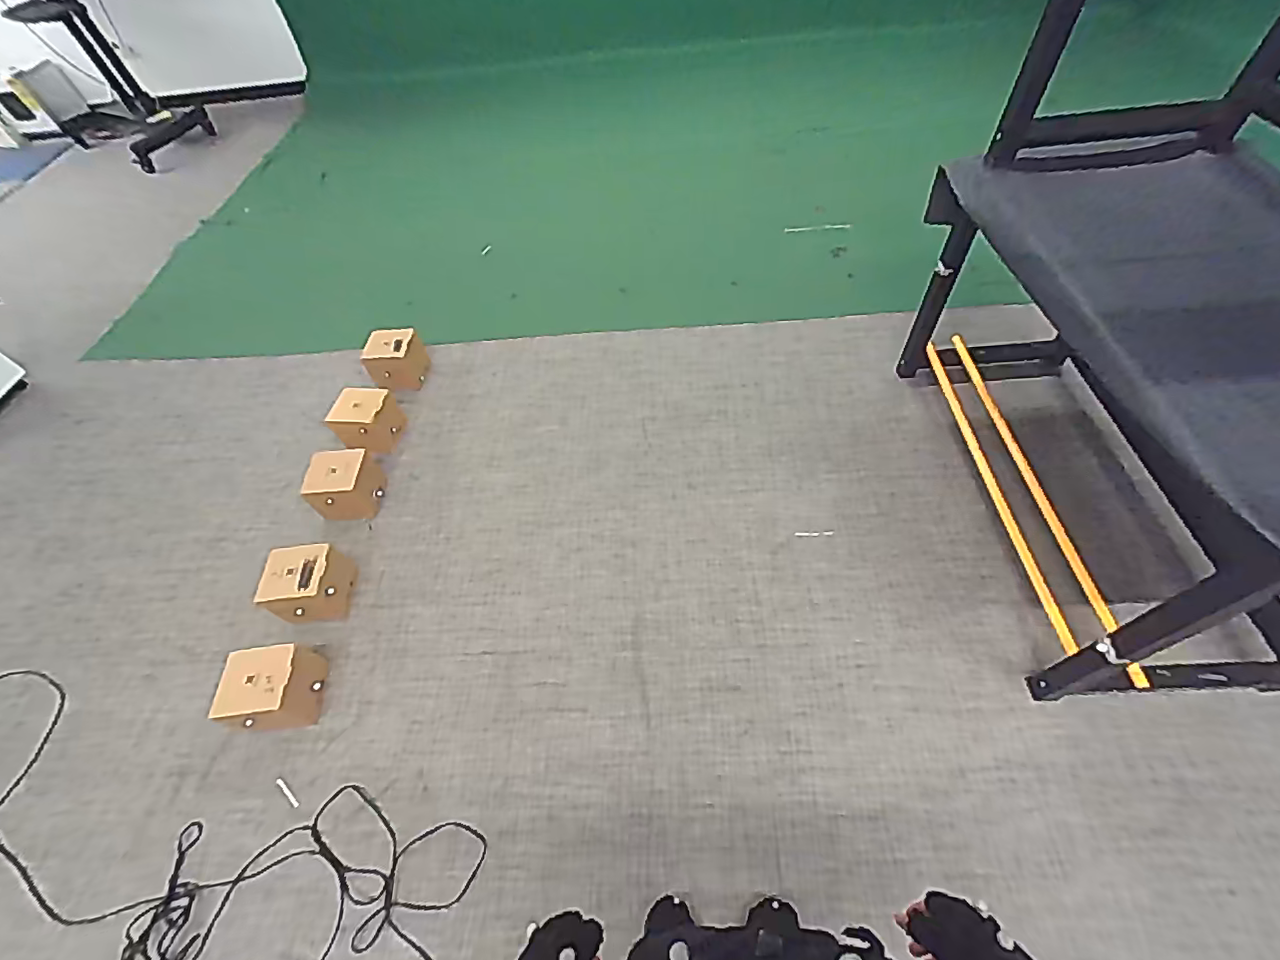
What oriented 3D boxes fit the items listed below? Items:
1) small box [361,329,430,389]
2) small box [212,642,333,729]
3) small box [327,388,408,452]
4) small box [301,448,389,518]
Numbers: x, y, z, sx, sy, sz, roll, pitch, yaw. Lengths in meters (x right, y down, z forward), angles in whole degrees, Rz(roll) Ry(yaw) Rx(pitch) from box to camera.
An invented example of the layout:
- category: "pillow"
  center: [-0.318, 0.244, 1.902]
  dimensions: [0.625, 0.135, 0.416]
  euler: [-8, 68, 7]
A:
- category: "small box"
  center: [-0.958, -0.475, 2.141]
  dimensions: [0.179, 0.176, 0.168]
  euler: [-2, 54, 5]
- category: "small box"
  center: [-0.947, 0.540, 1.410]
  dimensions: [0.179, 0.176, 0.168]
  euler: [-7, 55, 0]
- category: "small box"
  center: [-0.978, -0.216, 1.956]
  dimensions: [0.179, 0.176, 0.168]
  euler: [3, 55, 7]
- category: "small box"
  center: [-0.967, 0.015, 1.789]
  dimensions: [0.179, 0.176, 0.168]
  euler: [-4, 56, 1]
